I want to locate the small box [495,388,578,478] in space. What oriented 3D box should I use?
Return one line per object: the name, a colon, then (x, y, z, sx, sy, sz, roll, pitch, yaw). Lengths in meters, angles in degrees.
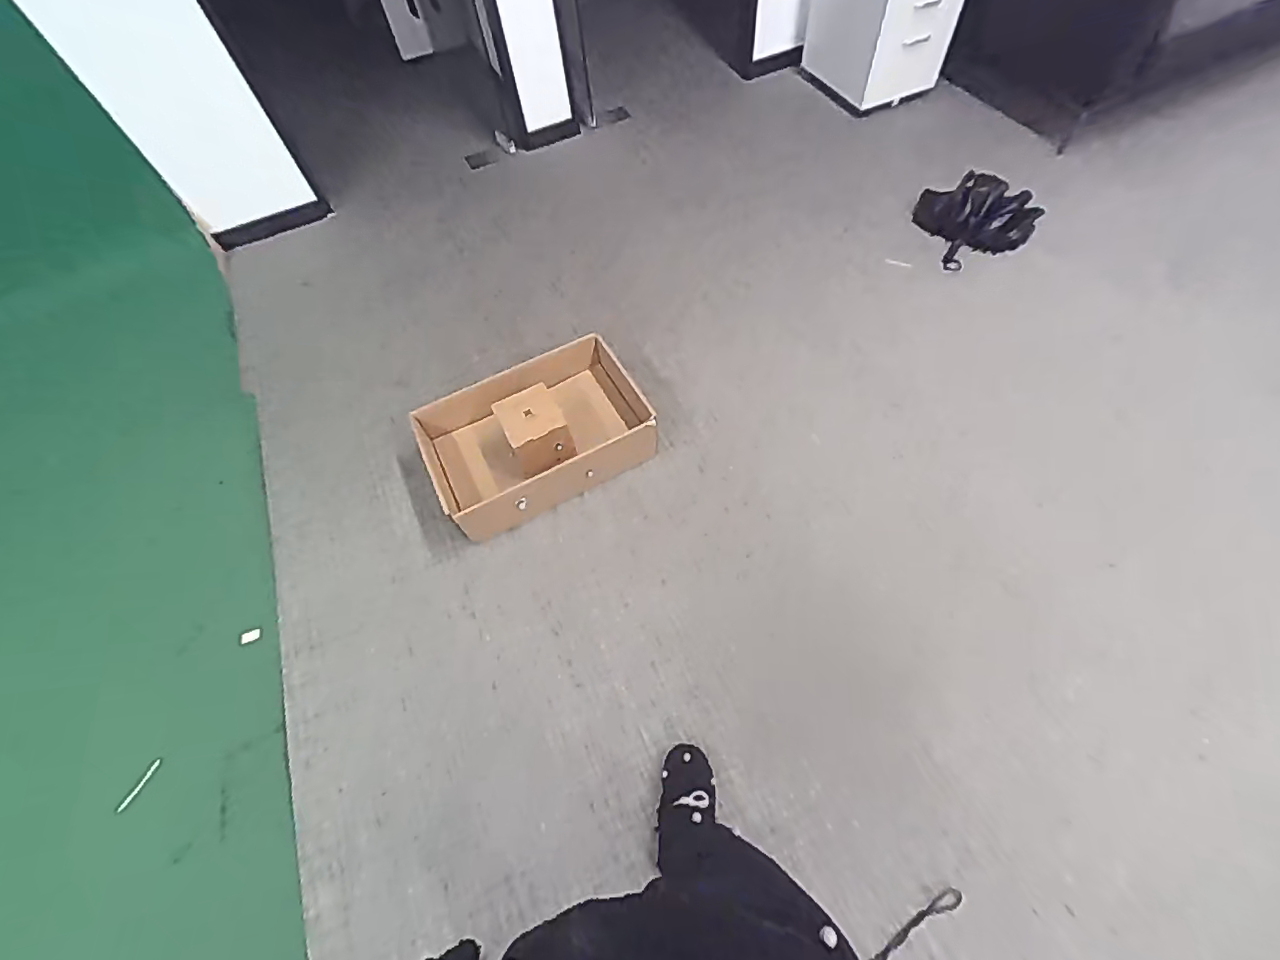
small box: (-0.295, -0.129, 1.576, 0.168, 0.176, 0.179, -27, 59, -12)
